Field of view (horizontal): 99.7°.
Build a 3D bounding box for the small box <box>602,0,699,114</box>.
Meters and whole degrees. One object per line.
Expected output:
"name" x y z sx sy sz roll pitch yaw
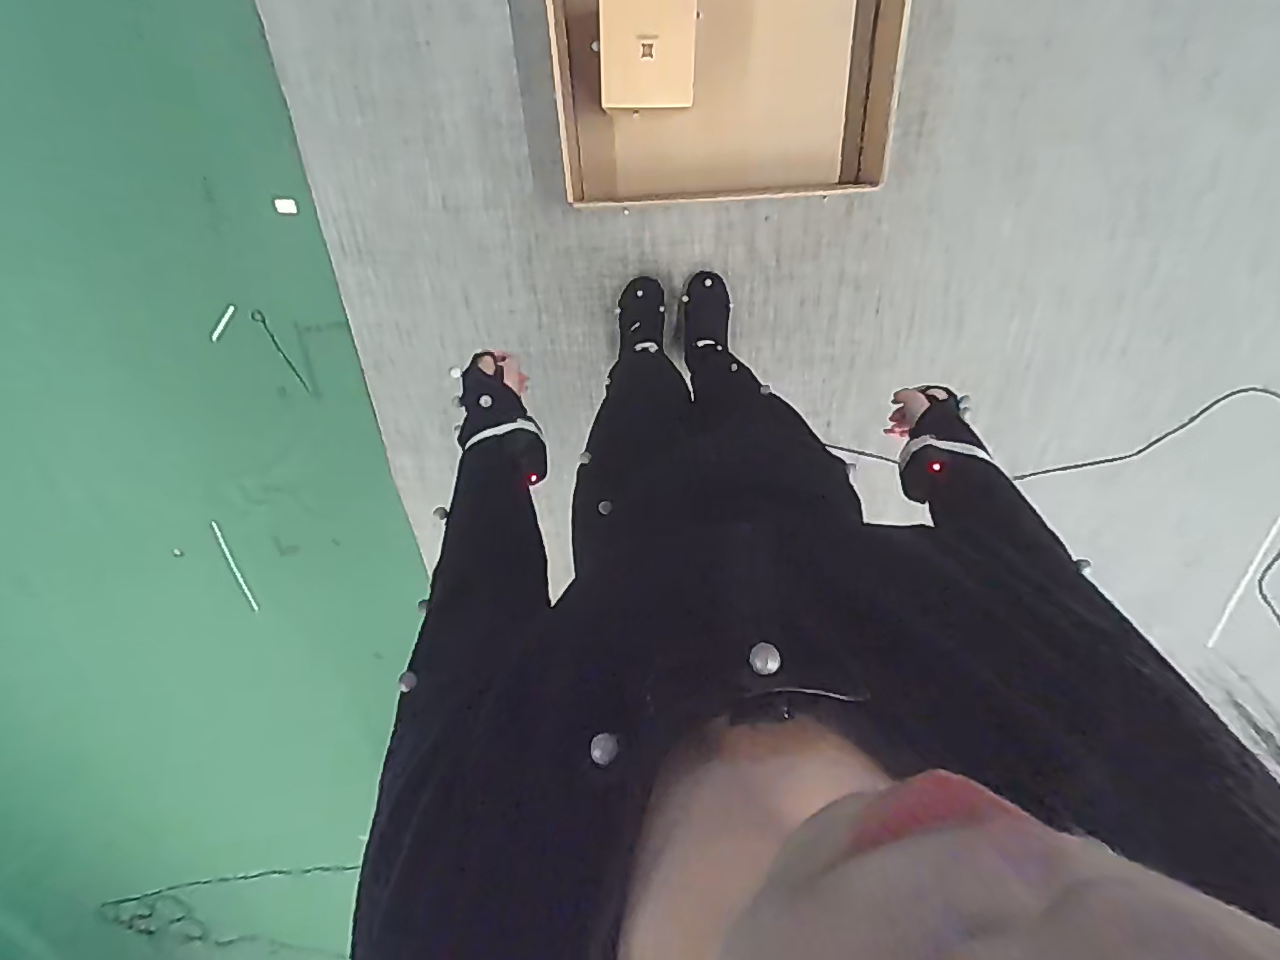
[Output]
"small box" 0.021 -0.787 0.997 0.168 0.176 0.179 2 118 2
